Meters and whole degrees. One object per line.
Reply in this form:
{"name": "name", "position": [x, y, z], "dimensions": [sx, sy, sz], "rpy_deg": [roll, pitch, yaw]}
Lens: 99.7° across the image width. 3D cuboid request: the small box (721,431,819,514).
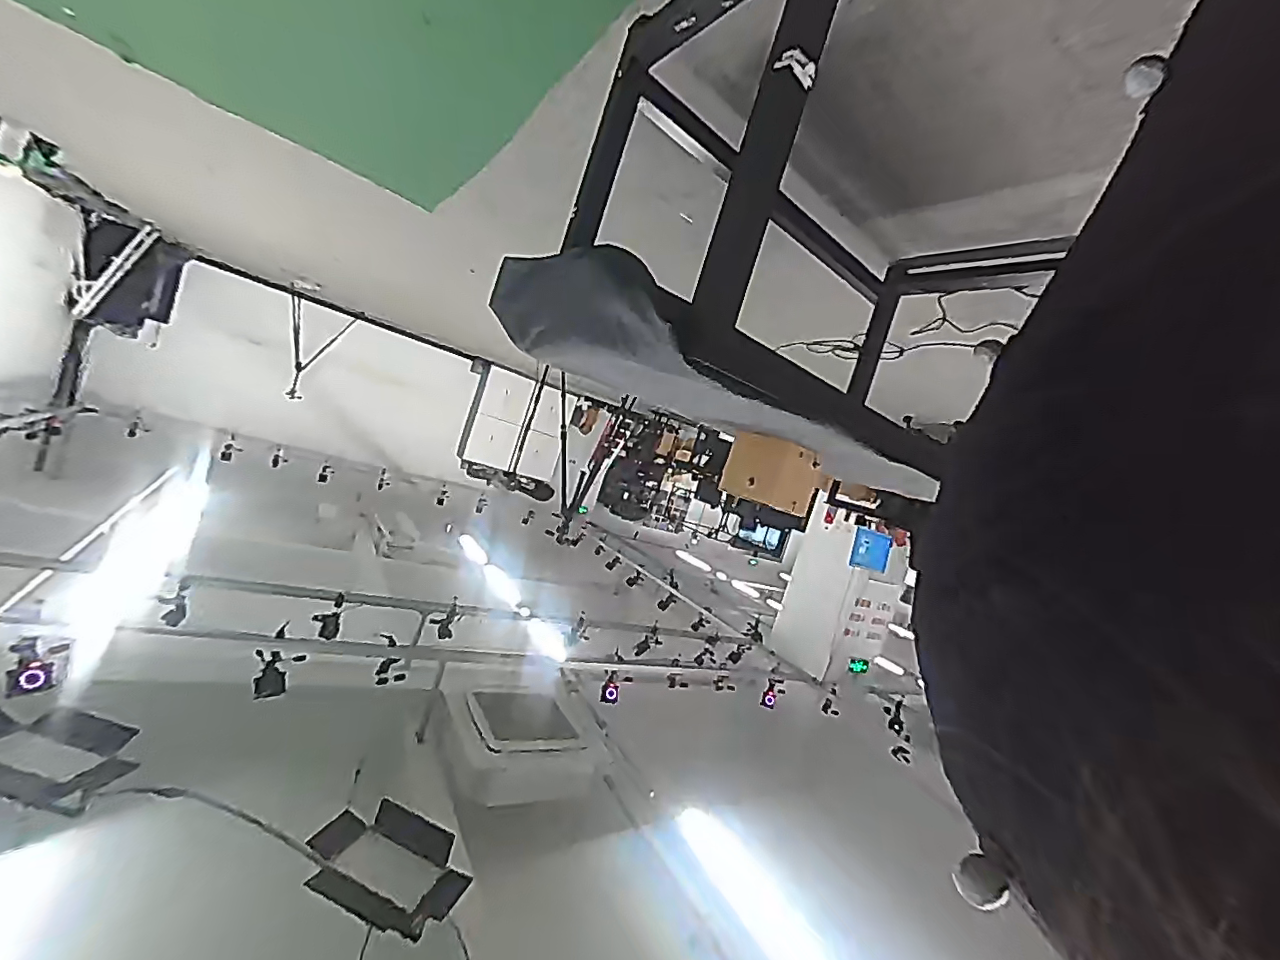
{"name": "small box", "position": [0.347, -0.023, 1.418], "dimensions": [0.168, 0.176, 0.179], "rpy_deg": [16, -177, -40]}
